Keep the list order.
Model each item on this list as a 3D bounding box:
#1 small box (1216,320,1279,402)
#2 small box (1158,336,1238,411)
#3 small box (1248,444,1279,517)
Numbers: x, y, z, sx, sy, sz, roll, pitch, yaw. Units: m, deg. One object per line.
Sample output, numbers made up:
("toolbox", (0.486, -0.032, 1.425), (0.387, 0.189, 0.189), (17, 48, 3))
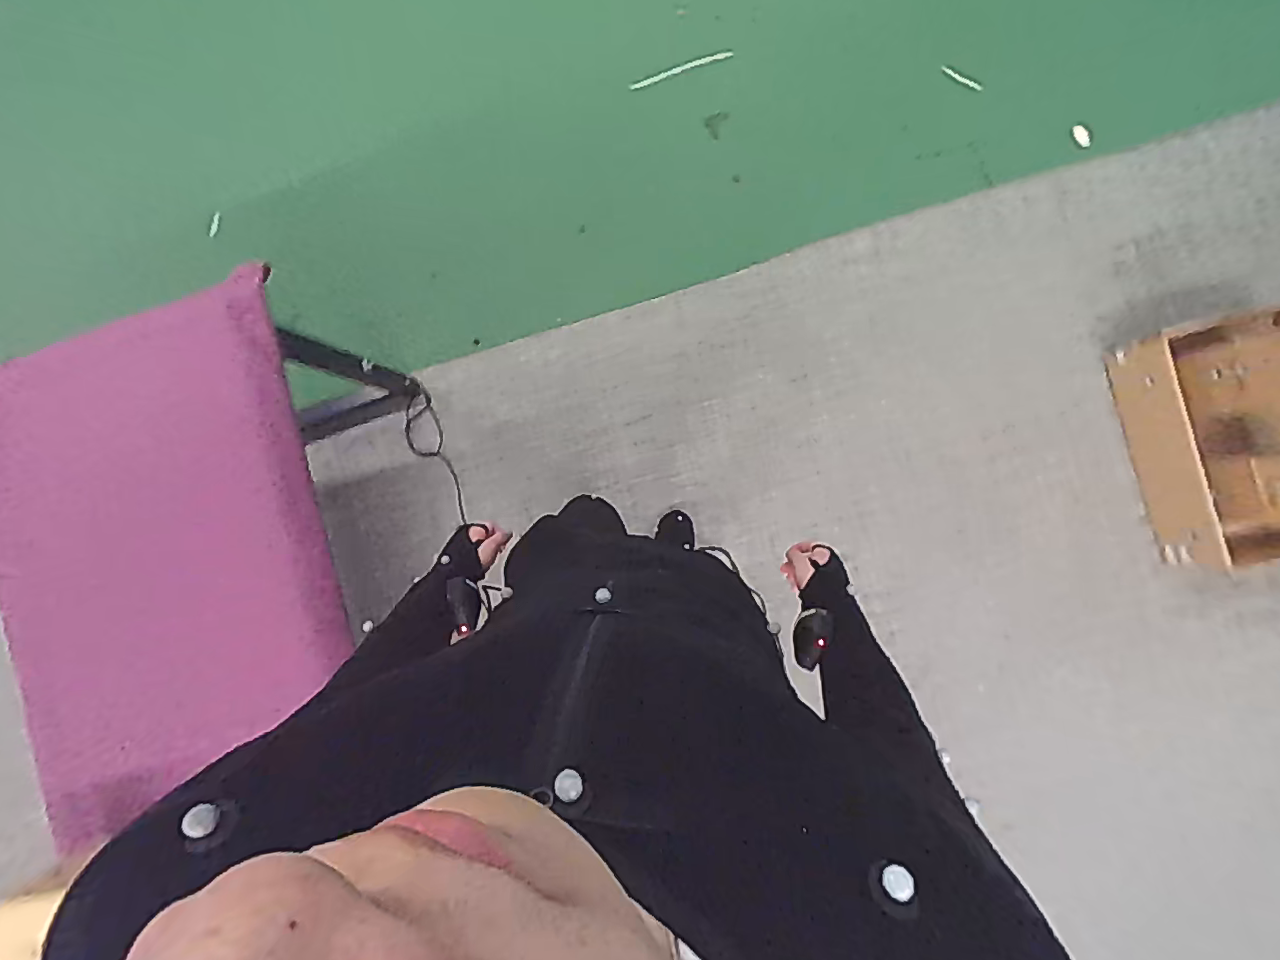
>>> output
("small box", (1.471, -0.280, 1.206), (0.179, 0.176, 0.168), (-13, 88, 5))
("small box", (1.488, -0.280, 1.367), (0.179, 0.176, 0.168), (-13, 88, 4))
("small box", (1.536, -0.011, 1.197), (0.179, 0.176, 0.168), (-13, 88, 6))
